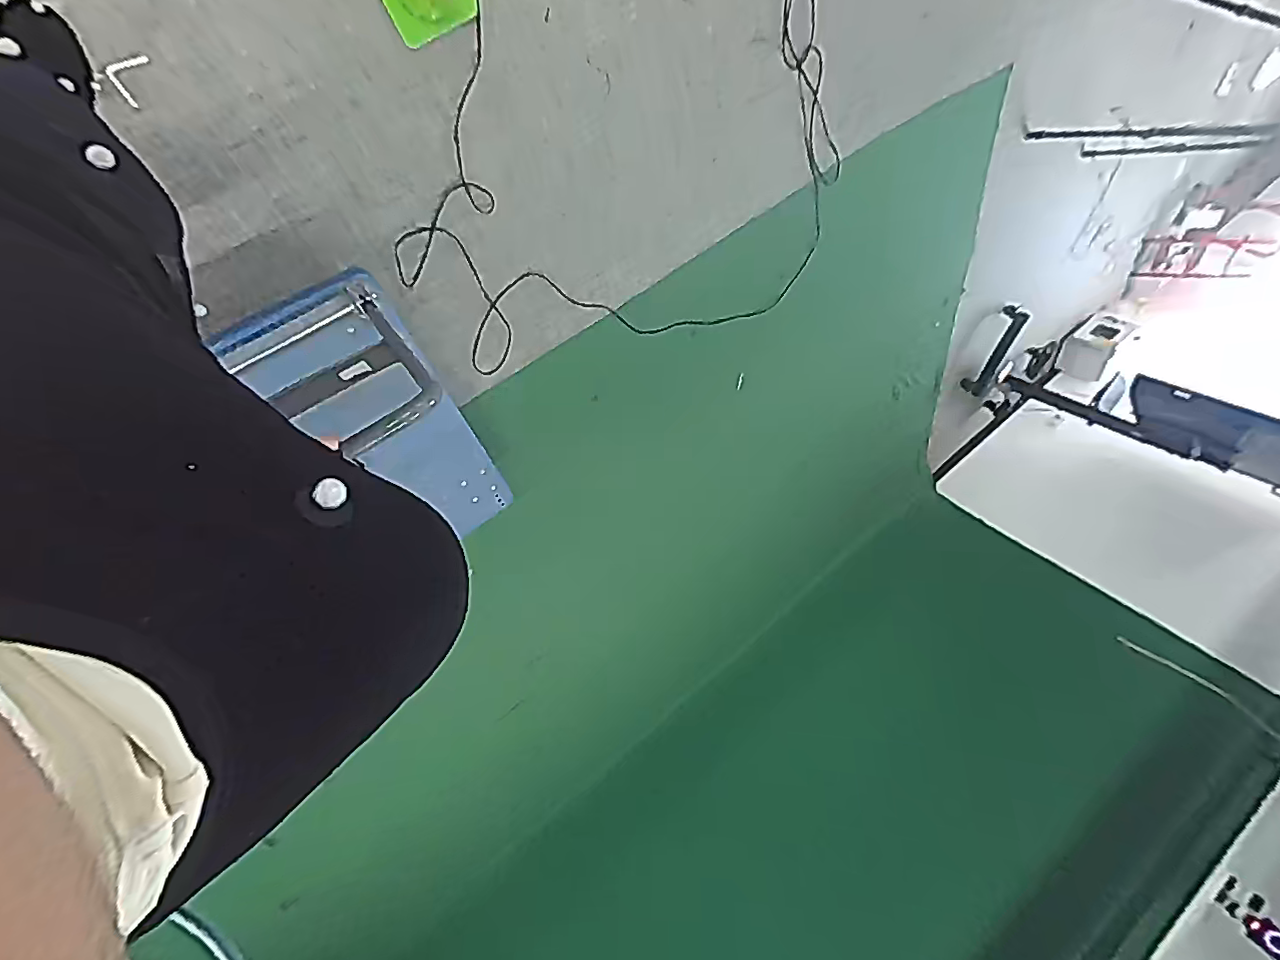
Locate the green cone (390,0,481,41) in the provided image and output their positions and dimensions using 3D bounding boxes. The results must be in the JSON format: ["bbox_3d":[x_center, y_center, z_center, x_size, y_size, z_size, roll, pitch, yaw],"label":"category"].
[{"bbox_3d":[-0.361,-1.000,1.042,0.202,0.368,0.200,-40,140,-11],"label":"green cone"}]
